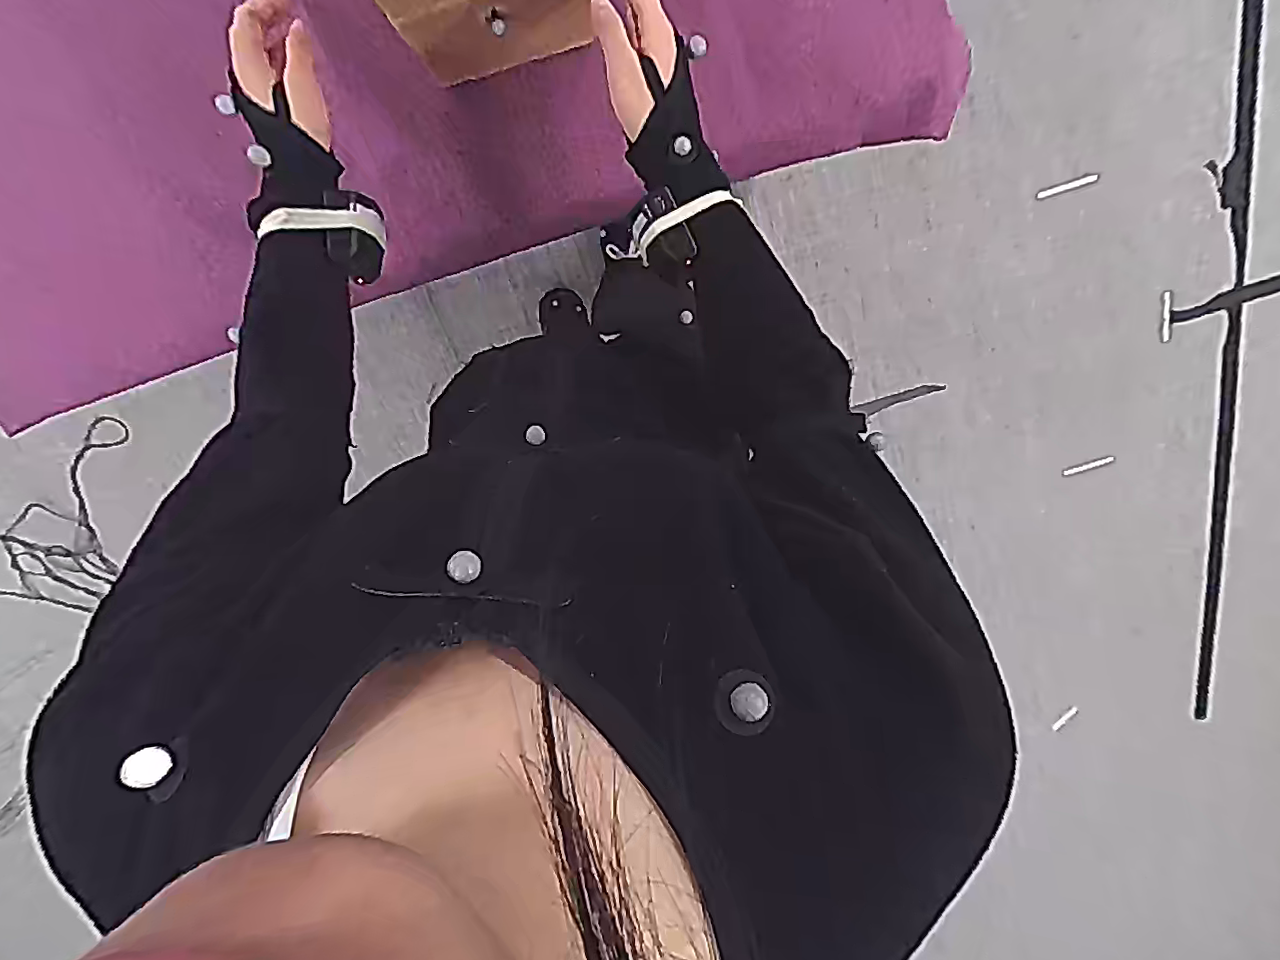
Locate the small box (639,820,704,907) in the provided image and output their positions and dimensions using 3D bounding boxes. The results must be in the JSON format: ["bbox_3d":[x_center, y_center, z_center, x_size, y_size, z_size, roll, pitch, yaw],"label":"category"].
[{"bbox_3d":[0.111,1.382,1.954,0.168,0.176,0.179,-28,109,3],"label":"small box"}]

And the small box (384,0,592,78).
[{"bbox_3d":[-0.145,-0.495,0.479,0.179,0.176,0.168,-17,112,1],"label":"small box"}]
